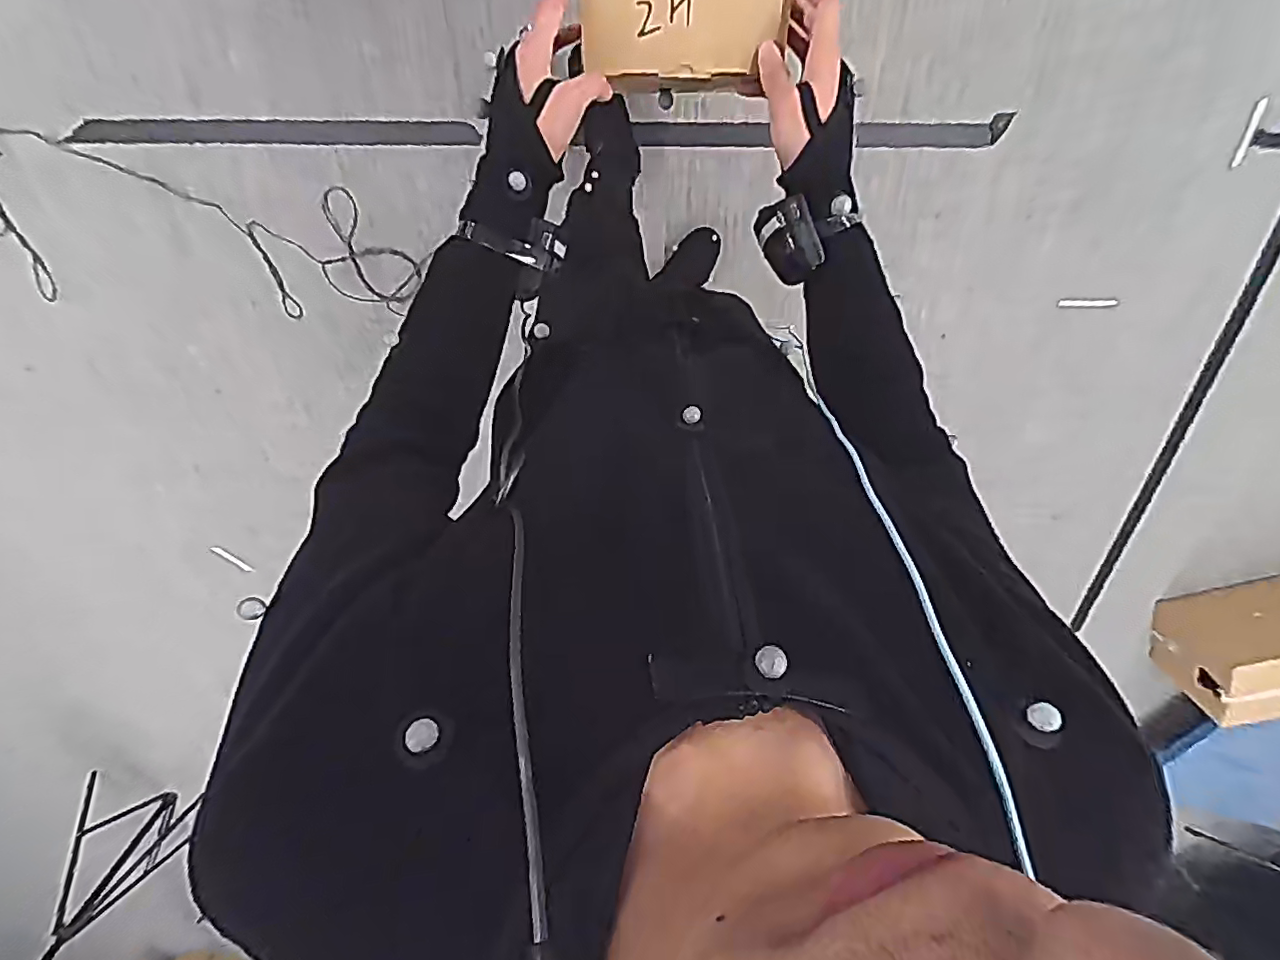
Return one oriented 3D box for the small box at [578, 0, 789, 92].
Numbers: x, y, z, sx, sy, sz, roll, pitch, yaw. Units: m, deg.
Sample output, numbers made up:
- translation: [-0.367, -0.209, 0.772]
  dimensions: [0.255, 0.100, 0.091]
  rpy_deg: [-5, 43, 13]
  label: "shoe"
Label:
- translation: [0.029, -0.450, 0.464]
  dimensions: [0.168, 0.176, 0.179]
  rpy_deg: [-2, 122, -4]
  label: "small box"
